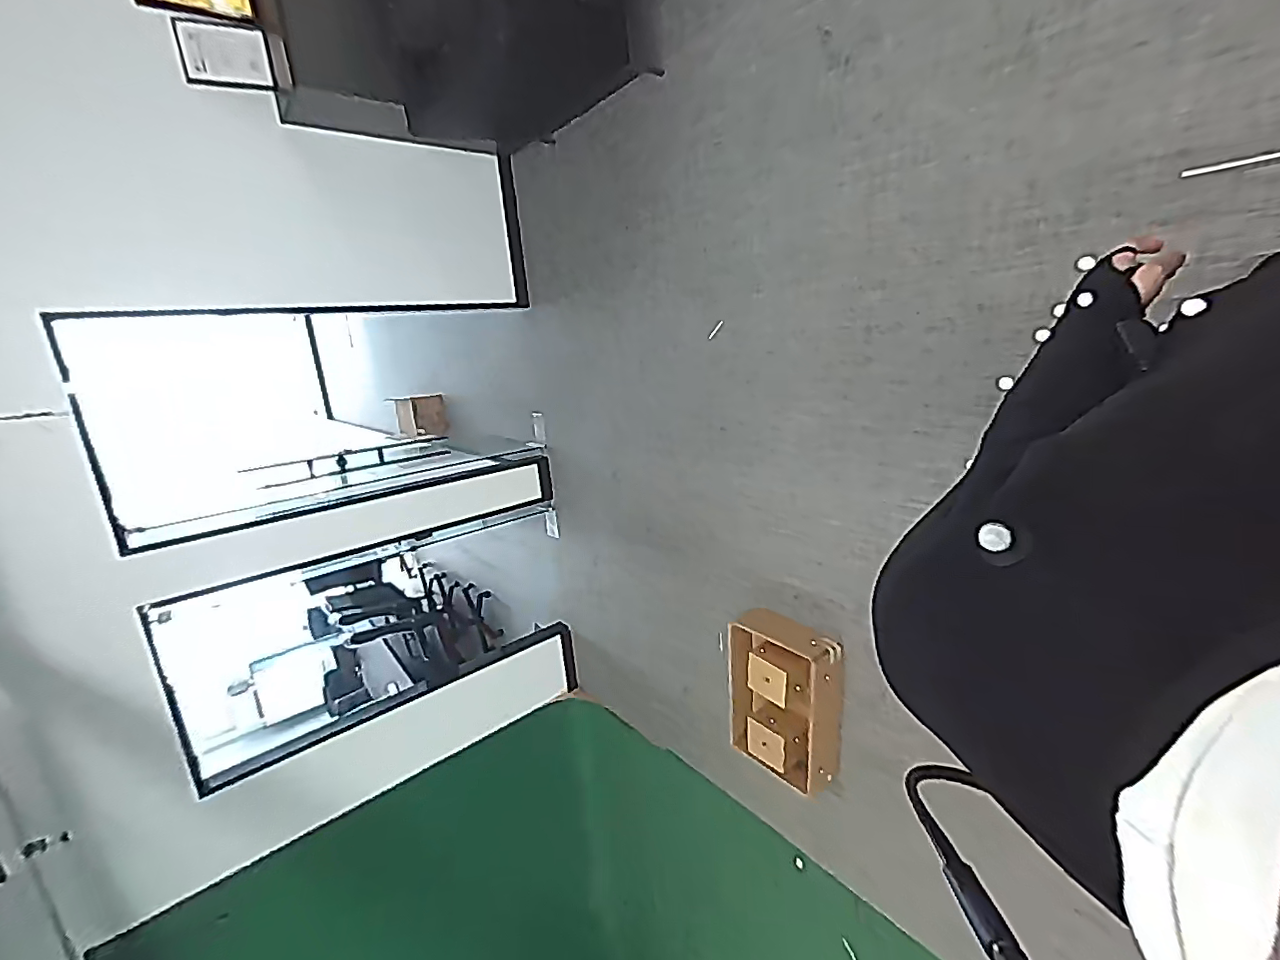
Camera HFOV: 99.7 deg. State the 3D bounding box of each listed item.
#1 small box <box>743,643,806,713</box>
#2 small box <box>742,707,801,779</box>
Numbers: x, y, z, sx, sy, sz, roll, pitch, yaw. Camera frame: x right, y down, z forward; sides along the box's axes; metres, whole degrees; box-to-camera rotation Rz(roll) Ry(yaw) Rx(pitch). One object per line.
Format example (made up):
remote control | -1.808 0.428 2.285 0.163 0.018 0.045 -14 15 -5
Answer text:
small box | 0.522 0.759 2.098 0.179 0.176 0.168 19 116 47
small box | 0.531 1.049 2.177 0.179 0.176 0.168 14 111 49
